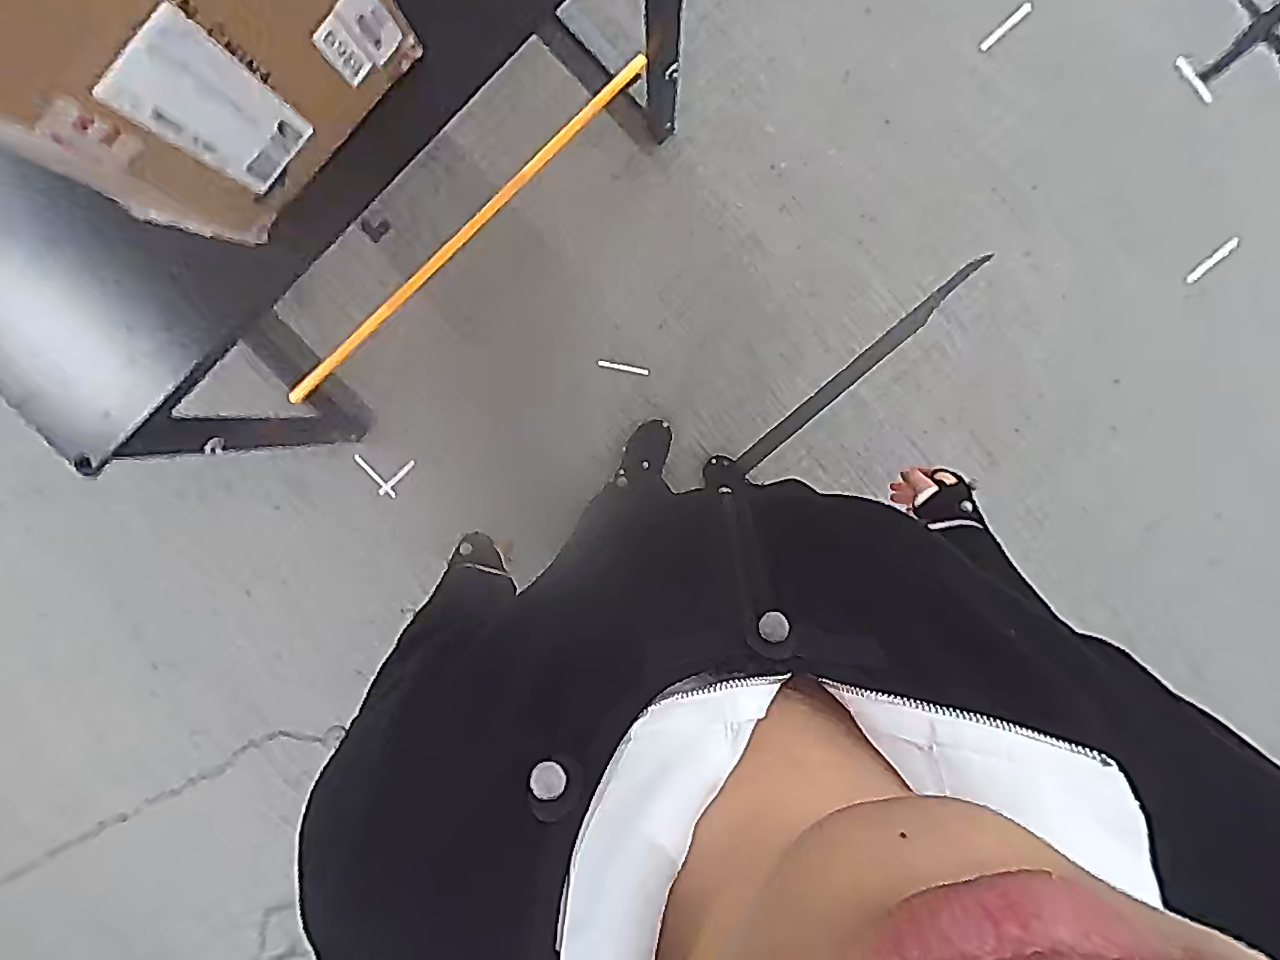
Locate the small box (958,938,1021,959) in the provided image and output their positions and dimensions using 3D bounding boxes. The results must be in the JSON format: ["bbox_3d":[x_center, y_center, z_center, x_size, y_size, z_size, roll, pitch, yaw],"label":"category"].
[{"bbox_3d":[0.992,1.392,1.453,0.168,0.176,0.179,-44,94,5],"label":"small box"}]
